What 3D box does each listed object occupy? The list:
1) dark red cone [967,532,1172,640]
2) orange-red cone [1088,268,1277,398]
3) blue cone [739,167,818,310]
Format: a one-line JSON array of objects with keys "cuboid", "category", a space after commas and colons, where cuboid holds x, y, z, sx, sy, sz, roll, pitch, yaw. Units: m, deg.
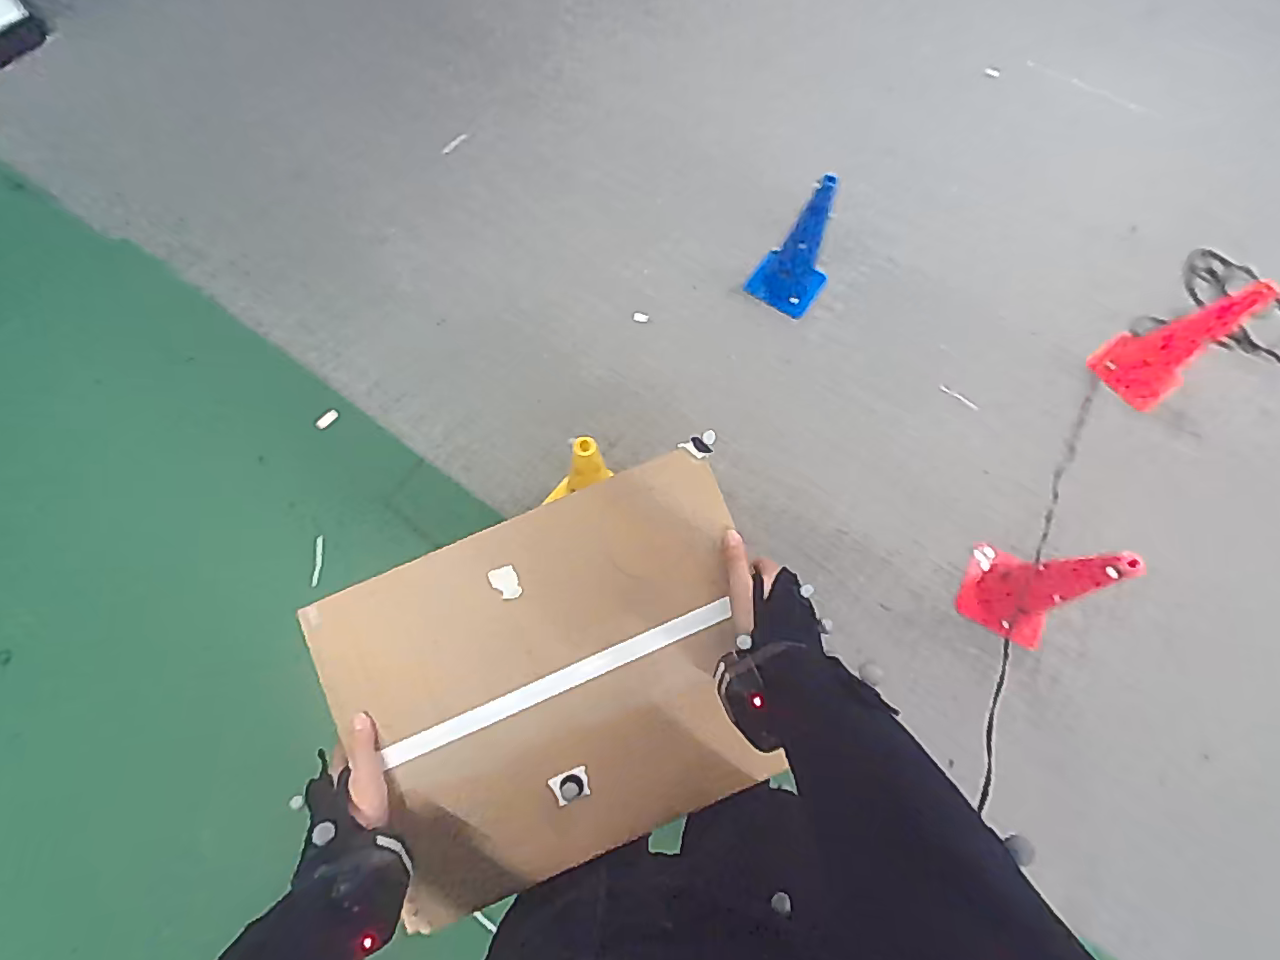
[{"cuboid": [0.881, 0.189, 1.102, 0.202, 0.394, 0.201, 26, 73, 8], "category": "dark red cone"}, {"cuboid": [1.406, -0.400, 1.375, 0.198, 0.360, 0.199, -33, 74, -12], "category": "orange-red cone"}, {"cuboid": [0.417, -0.664, 1.470, 0.192, 0.380, 0.193, 34, 71, 12], "category": "blue cone"}]
